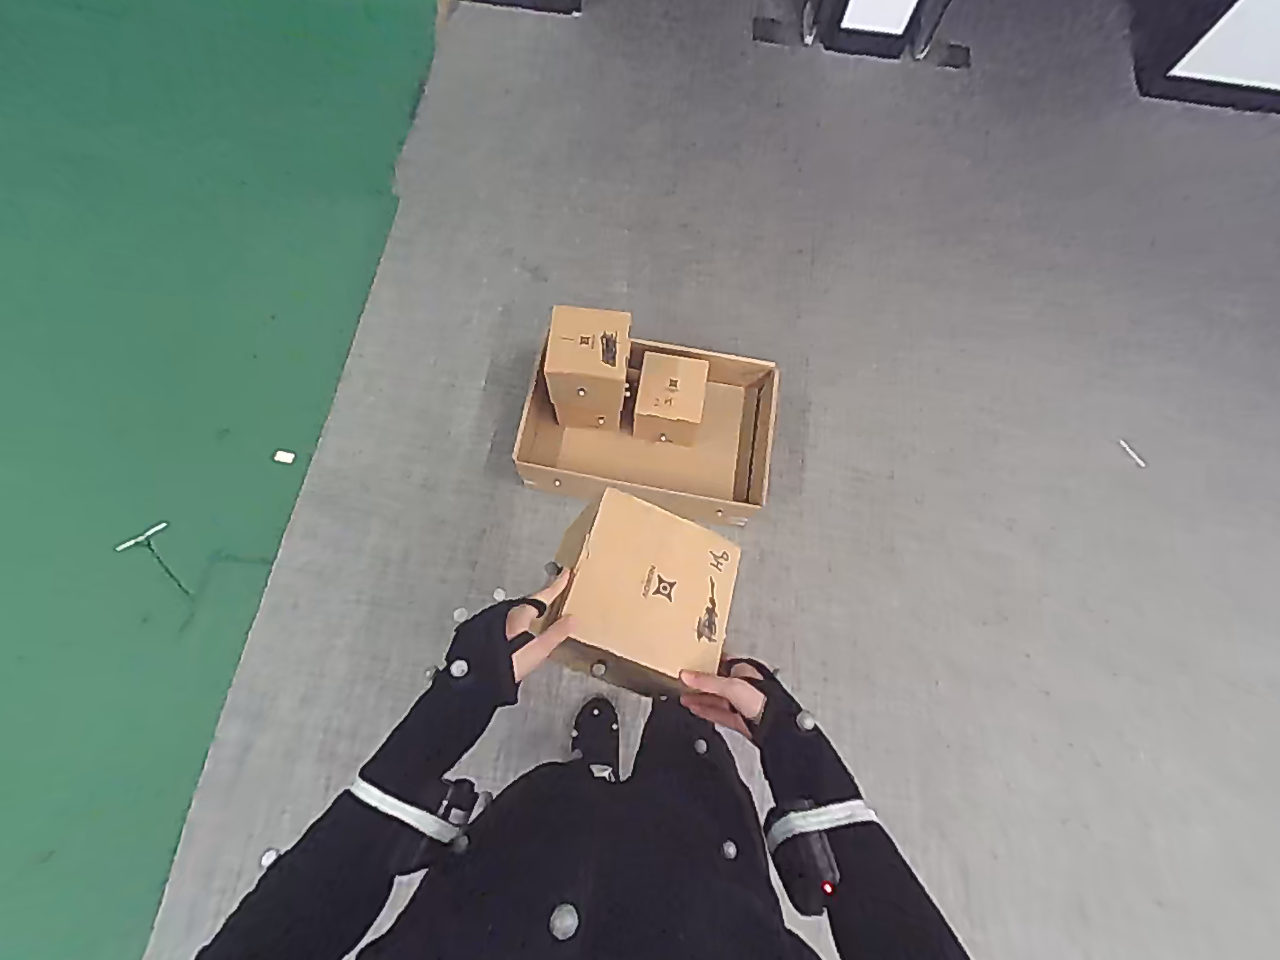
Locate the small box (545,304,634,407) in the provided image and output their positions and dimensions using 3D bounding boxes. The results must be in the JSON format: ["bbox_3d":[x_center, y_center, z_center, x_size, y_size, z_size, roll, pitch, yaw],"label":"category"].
[{"bbox_3d":[-0.110,-0.279,1.248,0.179,0.176,0.168,6,74,0],"label":"small box"}]

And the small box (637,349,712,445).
[{"bbox_3d":[0.086,-0.211,1.405,0.168,0.176,0.179,9,74,3],"label":"small box"}]

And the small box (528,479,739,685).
[{"bbox_3d":[-0.014,0.129,0.624,0.179,0.176,0.168,24,62,-10],"label":"small box"}]
